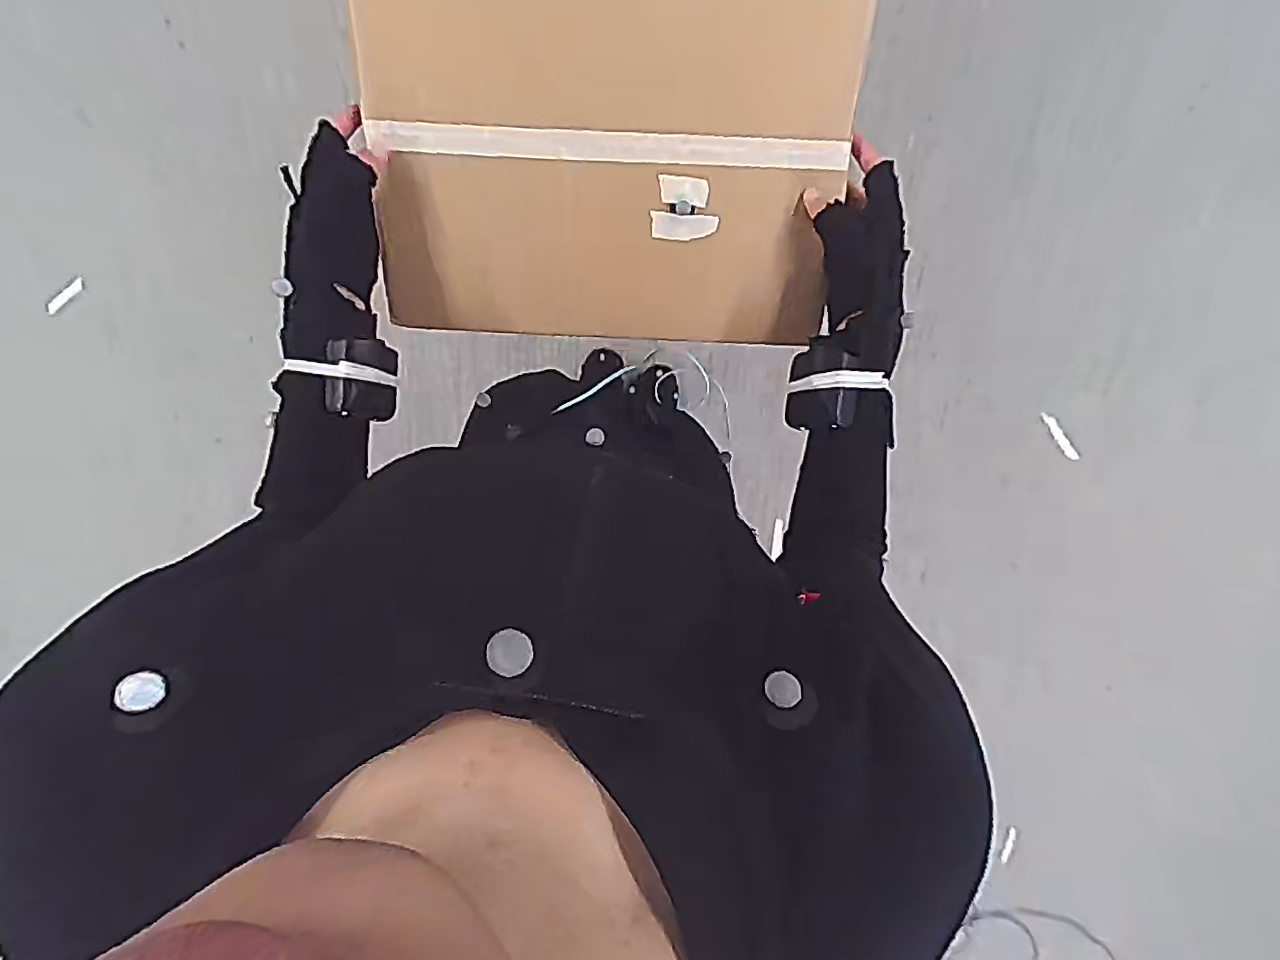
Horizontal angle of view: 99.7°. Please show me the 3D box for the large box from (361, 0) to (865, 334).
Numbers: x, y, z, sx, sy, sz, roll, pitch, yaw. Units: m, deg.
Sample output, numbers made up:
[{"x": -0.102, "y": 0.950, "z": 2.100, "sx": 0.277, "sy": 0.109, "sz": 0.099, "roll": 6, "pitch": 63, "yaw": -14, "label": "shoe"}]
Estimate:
[{"x": -0.027, "y": -0.343, "z": 0.598, "sx": 0.408, "sy": 0.320, "sz": 0.320, "roll": 2, "pitch": 113, "yaw": -1, "label": "large box"}]
